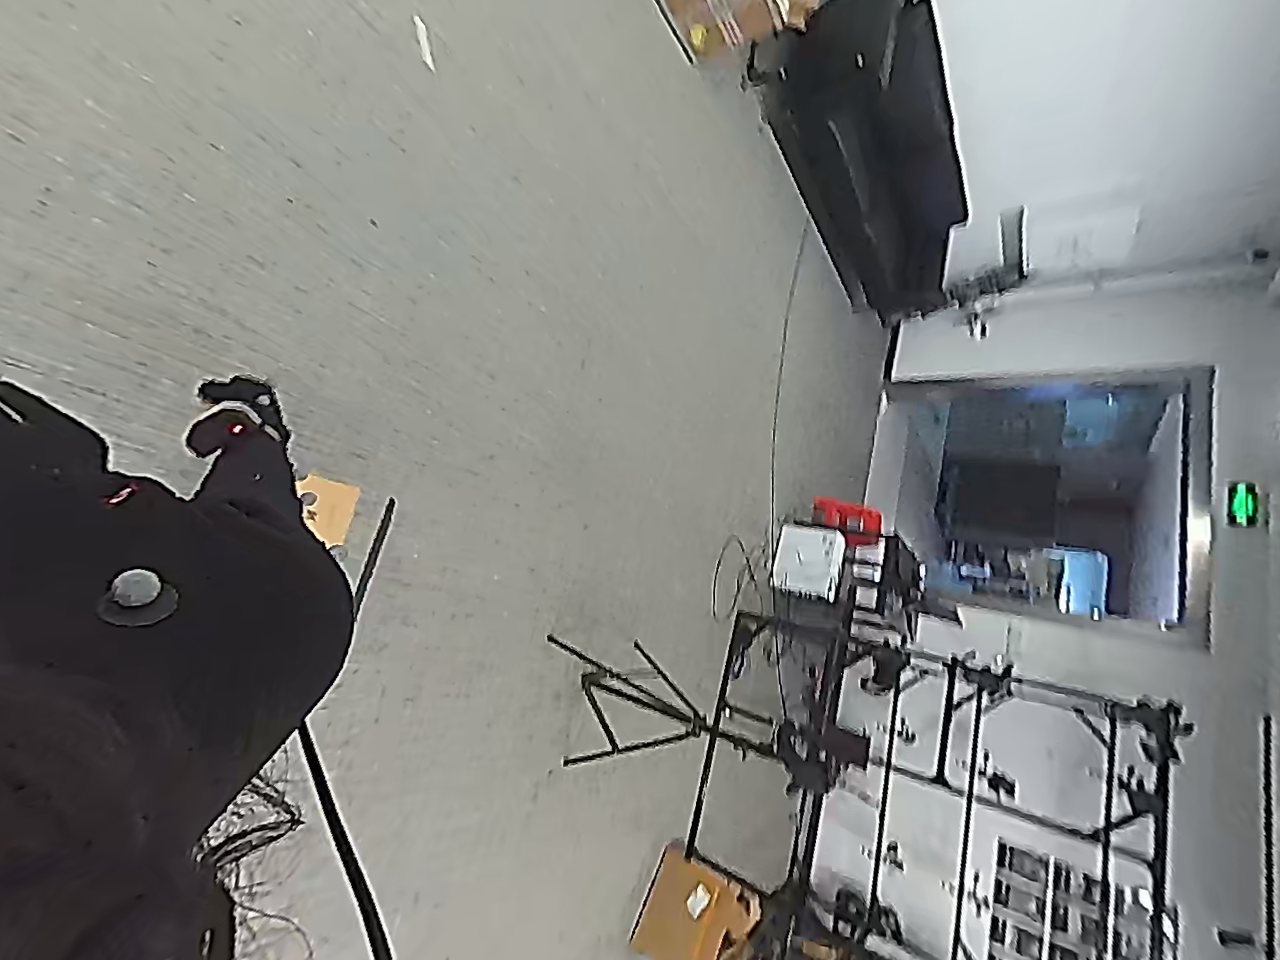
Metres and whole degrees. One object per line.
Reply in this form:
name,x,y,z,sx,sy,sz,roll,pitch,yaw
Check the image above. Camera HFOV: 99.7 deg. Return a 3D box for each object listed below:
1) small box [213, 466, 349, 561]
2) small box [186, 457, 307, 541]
small box,-0.776,0.070,1.167,0.179,0.176,0.168,27,74,-53
small box,-0.913,0.052,1.253,0.168,0.176,0.179,21,76,-53
